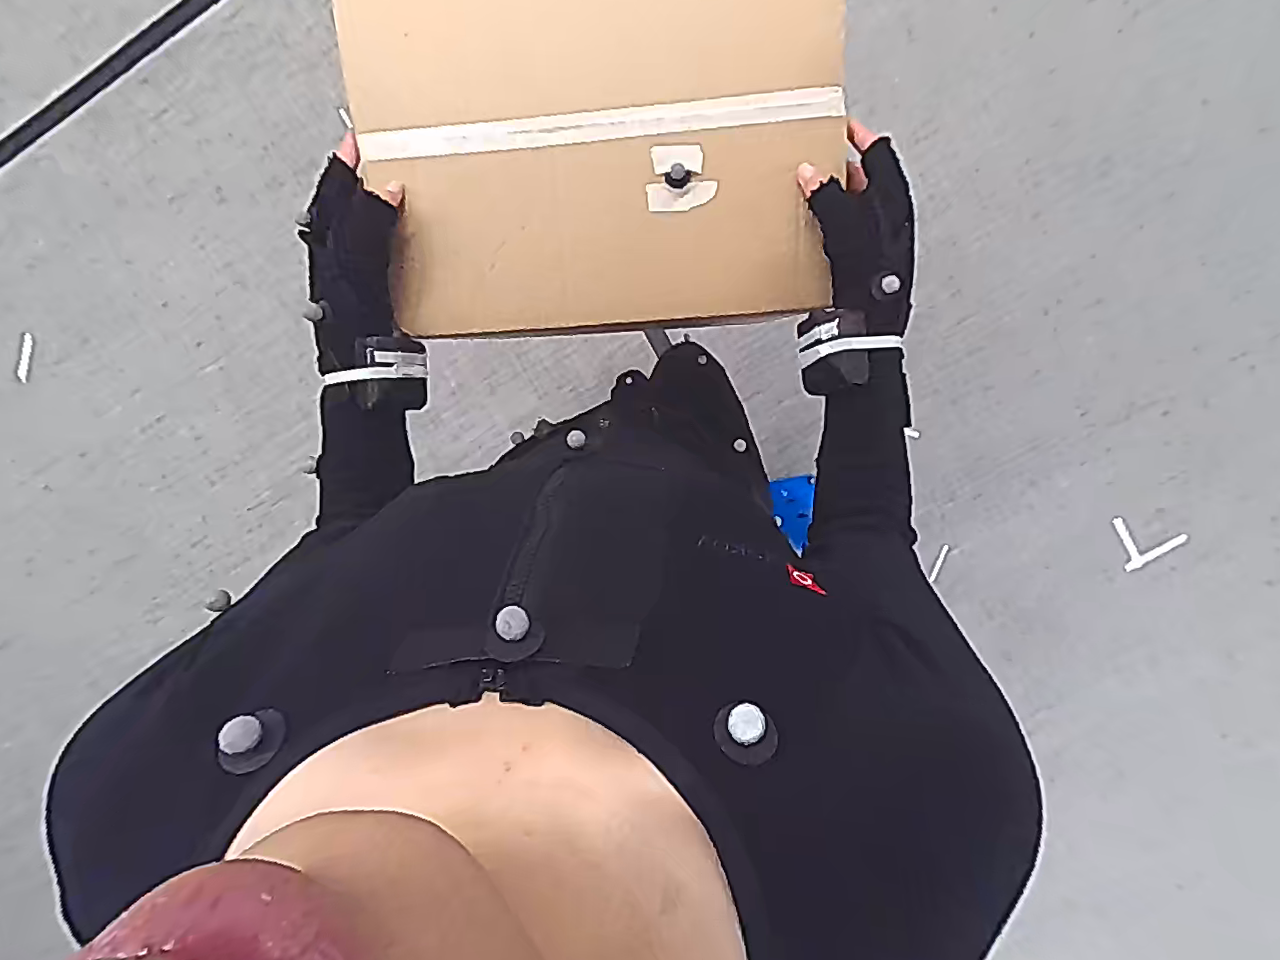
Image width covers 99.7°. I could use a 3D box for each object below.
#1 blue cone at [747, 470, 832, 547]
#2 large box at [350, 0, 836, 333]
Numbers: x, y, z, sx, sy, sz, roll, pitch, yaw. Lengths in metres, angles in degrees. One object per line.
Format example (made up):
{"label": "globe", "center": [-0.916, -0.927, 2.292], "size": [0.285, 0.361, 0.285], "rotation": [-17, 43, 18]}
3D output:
{"label": "blue cone", "center": [0.393, 0.103, 1.319], "size": [0.193, 0.380, 0.192], "rotation": [-8, 99, 2]}
{"label": "large box", "center": [-0.031, -0.343, 0.603], "size": [0.408, 0.320, 0.320], "rotation": [-3, 104, 3]}
